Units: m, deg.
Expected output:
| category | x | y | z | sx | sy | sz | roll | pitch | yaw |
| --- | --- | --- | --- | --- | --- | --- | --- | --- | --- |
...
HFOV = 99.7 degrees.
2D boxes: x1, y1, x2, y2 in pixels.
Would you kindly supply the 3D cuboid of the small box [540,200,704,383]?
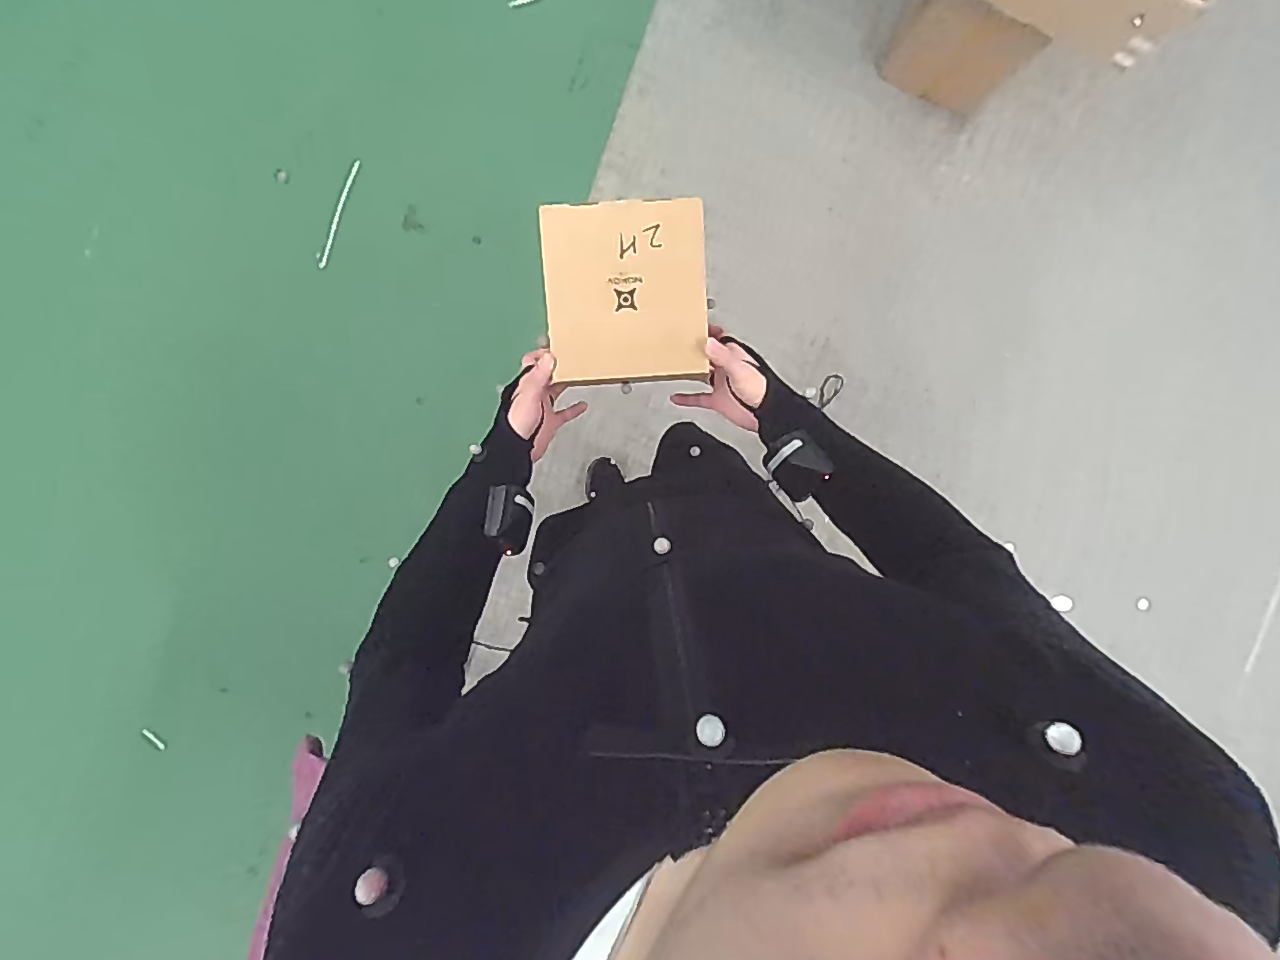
| category | x | y | z | sx | sy | sz | roll | pitch | yaw |
| --- | --- | --- | --- | --- | --- | --- | --- | --- | --- |
| small box | -0.018 | -0.204 | 0.630 | 0.168 | 0.176 | 0.179 | -3 | 98 | -2 |
